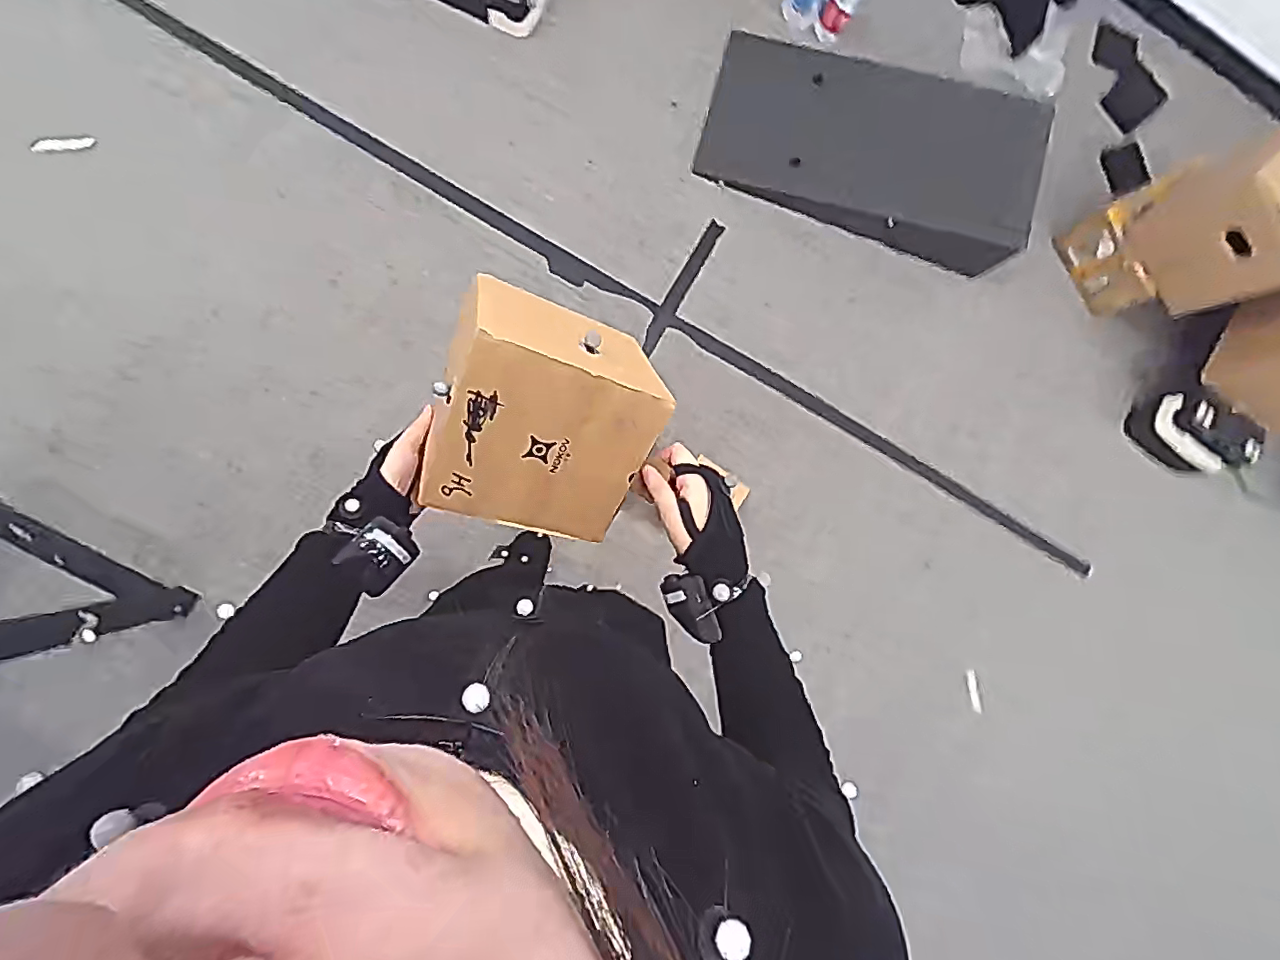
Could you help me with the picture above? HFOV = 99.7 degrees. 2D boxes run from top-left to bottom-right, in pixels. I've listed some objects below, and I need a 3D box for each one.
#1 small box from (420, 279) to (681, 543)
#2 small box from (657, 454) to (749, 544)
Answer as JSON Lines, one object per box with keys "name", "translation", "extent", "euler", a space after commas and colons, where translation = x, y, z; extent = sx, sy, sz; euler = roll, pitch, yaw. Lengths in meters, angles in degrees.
{"name": "small box", "translation": [-0.094, -0.068, 0.513], "extent": [0.179, 0.176, 0.168], "euler": [15, 117, -27]}
{"name": "small box", "translation": [0.161, 0.054, 1.466], "extent": [0.168, 0.176, 0.179], "euler": [36, 81, -6]}
